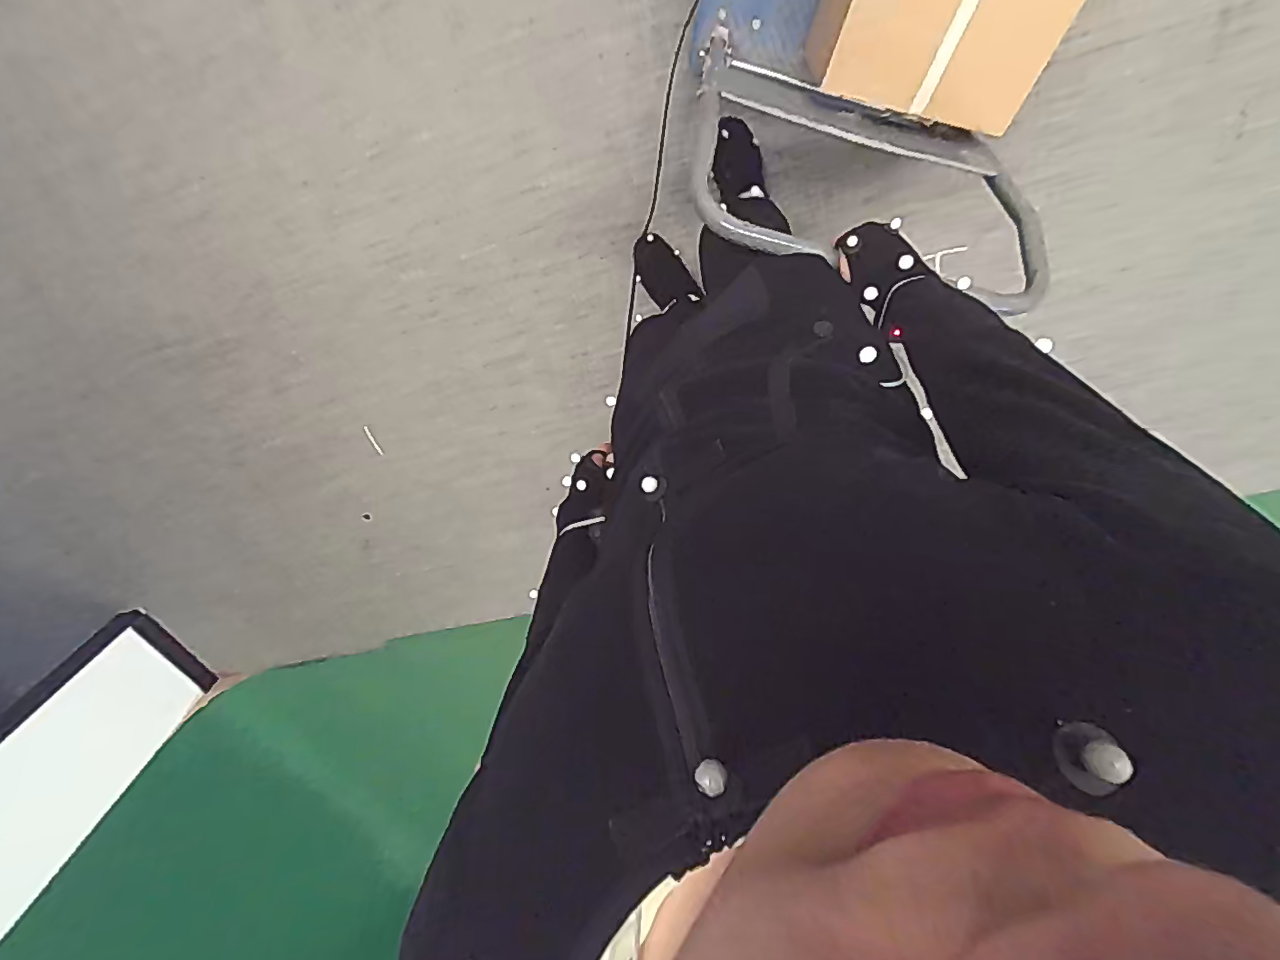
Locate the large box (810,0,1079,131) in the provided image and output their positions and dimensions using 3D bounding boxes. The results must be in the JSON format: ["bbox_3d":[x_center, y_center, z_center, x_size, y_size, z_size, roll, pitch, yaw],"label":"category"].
[{"bbox_3d":[0.496,-0.836,0.839,0.320,0.320,0.408,12,136,-4],"label":"large box"}]
